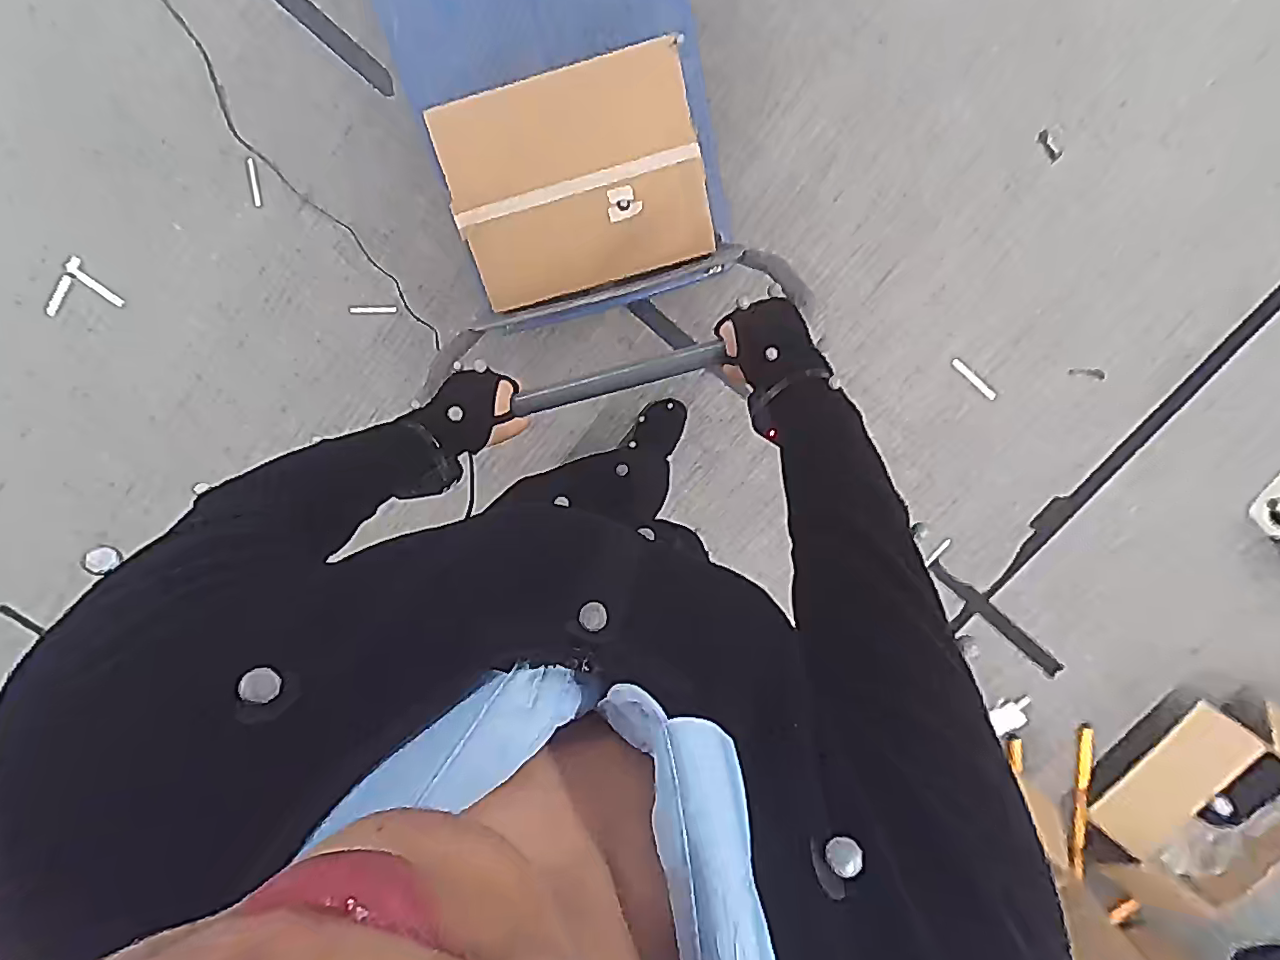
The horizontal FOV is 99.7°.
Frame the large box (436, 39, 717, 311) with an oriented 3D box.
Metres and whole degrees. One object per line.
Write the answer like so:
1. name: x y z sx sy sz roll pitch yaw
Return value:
1. large box: -0.104 -0.544 1.034 0.408 0.320 0.320 -15 113 3
